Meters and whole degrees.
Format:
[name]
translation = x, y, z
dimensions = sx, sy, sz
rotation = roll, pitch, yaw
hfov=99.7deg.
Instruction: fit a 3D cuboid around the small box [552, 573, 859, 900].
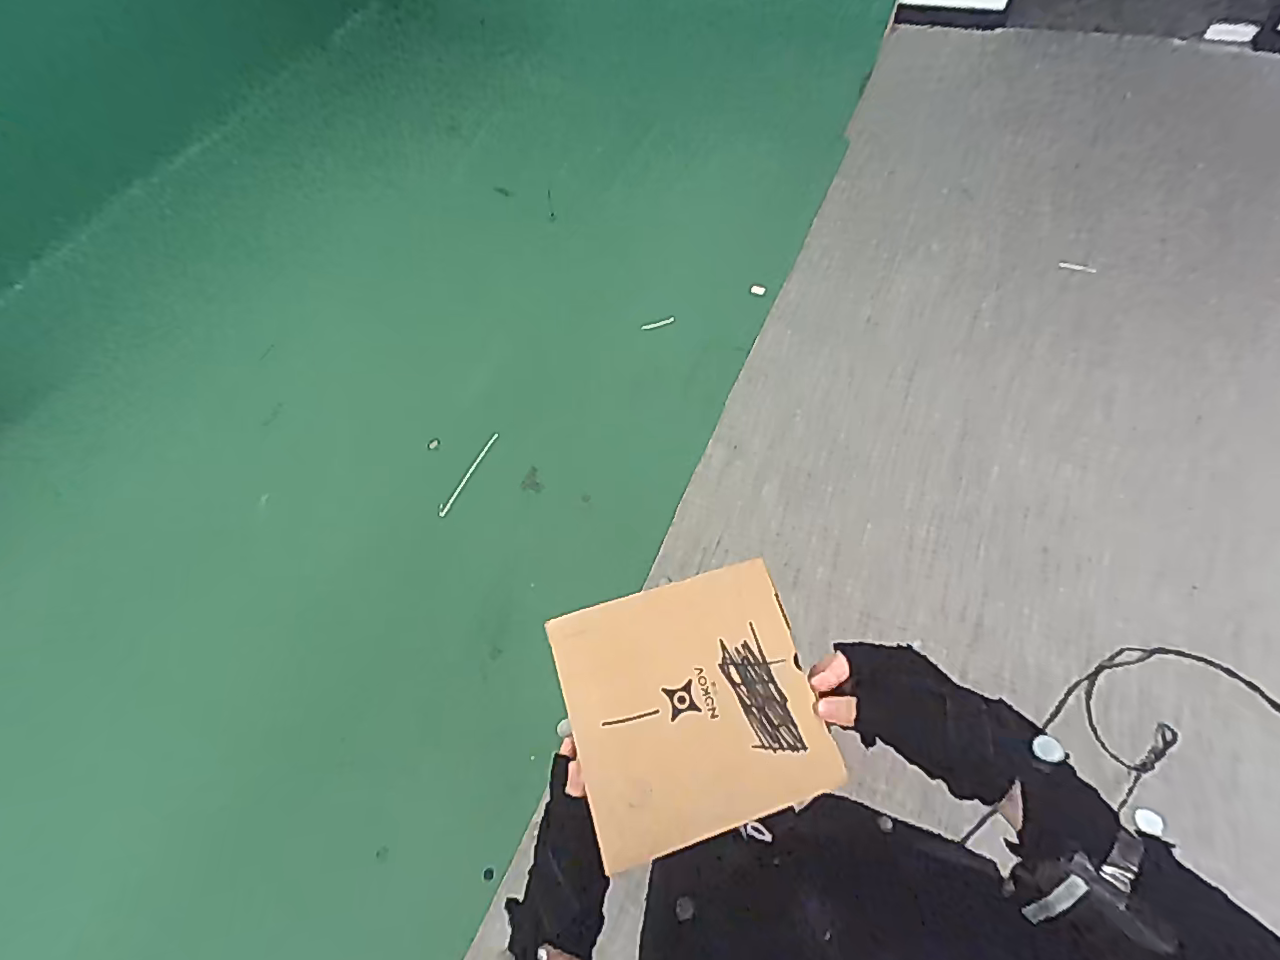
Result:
[small box]
translation = 0.035, 0.191, 0.441
dimensions = 0.179, 0.176, 0.168
rotation = -15, 69, -10
